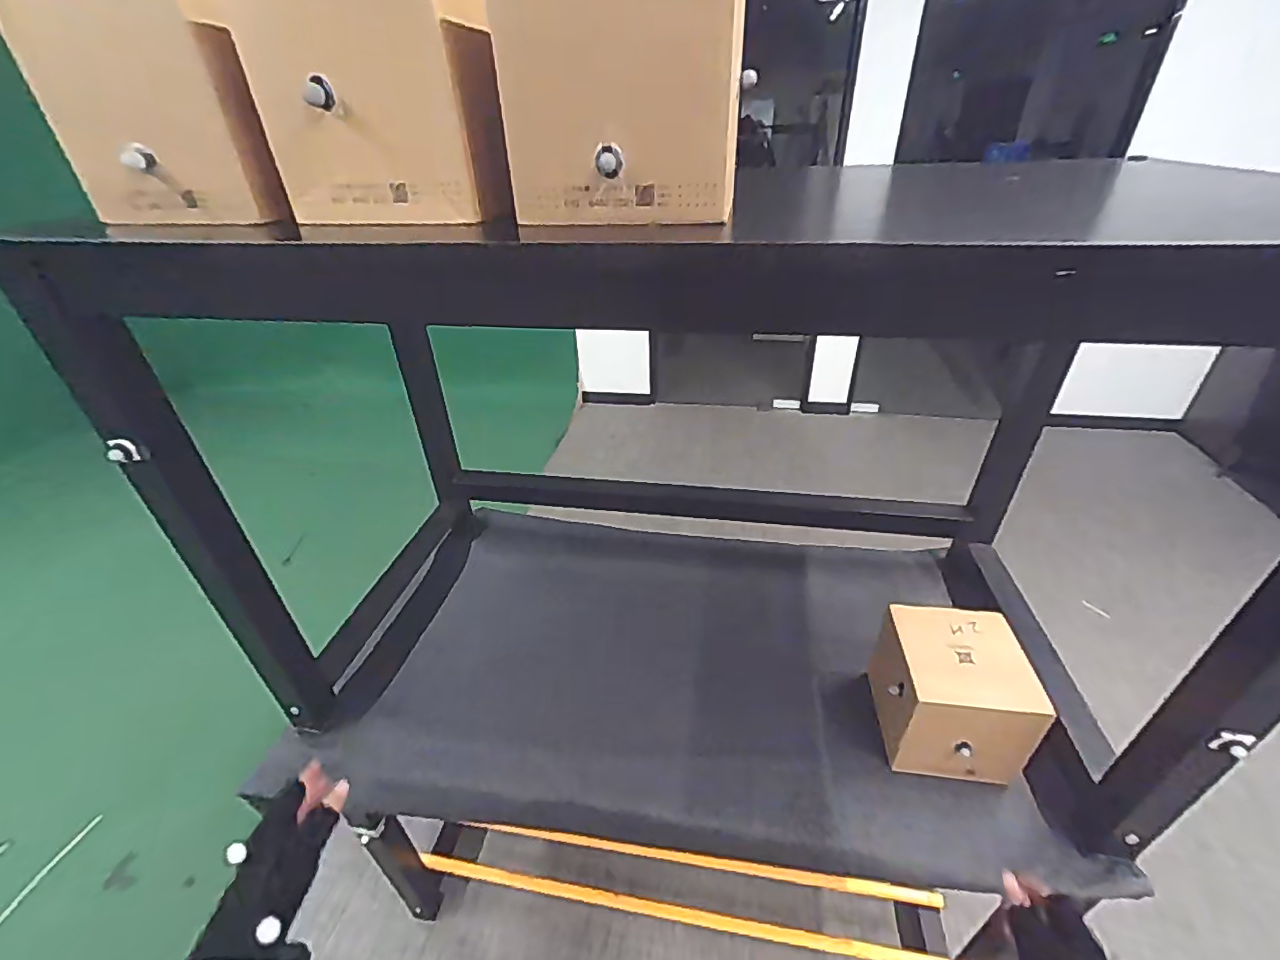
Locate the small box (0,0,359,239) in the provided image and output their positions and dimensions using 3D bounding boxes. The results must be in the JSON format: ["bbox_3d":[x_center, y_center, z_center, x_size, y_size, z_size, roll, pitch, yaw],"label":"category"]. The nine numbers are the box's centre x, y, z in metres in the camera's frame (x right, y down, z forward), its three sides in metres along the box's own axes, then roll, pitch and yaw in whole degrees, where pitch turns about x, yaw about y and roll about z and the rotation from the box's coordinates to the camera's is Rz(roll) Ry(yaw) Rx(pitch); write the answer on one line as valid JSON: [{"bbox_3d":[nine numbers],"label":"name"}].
[{"bbox_3d":[-0.398,-0.335,0.511,0.168,0.176,0.179,3,35,8],"label":"small box"}]

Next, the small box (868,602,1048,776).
[{"bbox_3d":[0.453,0.310,0.806,0.168,0.176,0.179,3,33,8],"label":"small box"}]
